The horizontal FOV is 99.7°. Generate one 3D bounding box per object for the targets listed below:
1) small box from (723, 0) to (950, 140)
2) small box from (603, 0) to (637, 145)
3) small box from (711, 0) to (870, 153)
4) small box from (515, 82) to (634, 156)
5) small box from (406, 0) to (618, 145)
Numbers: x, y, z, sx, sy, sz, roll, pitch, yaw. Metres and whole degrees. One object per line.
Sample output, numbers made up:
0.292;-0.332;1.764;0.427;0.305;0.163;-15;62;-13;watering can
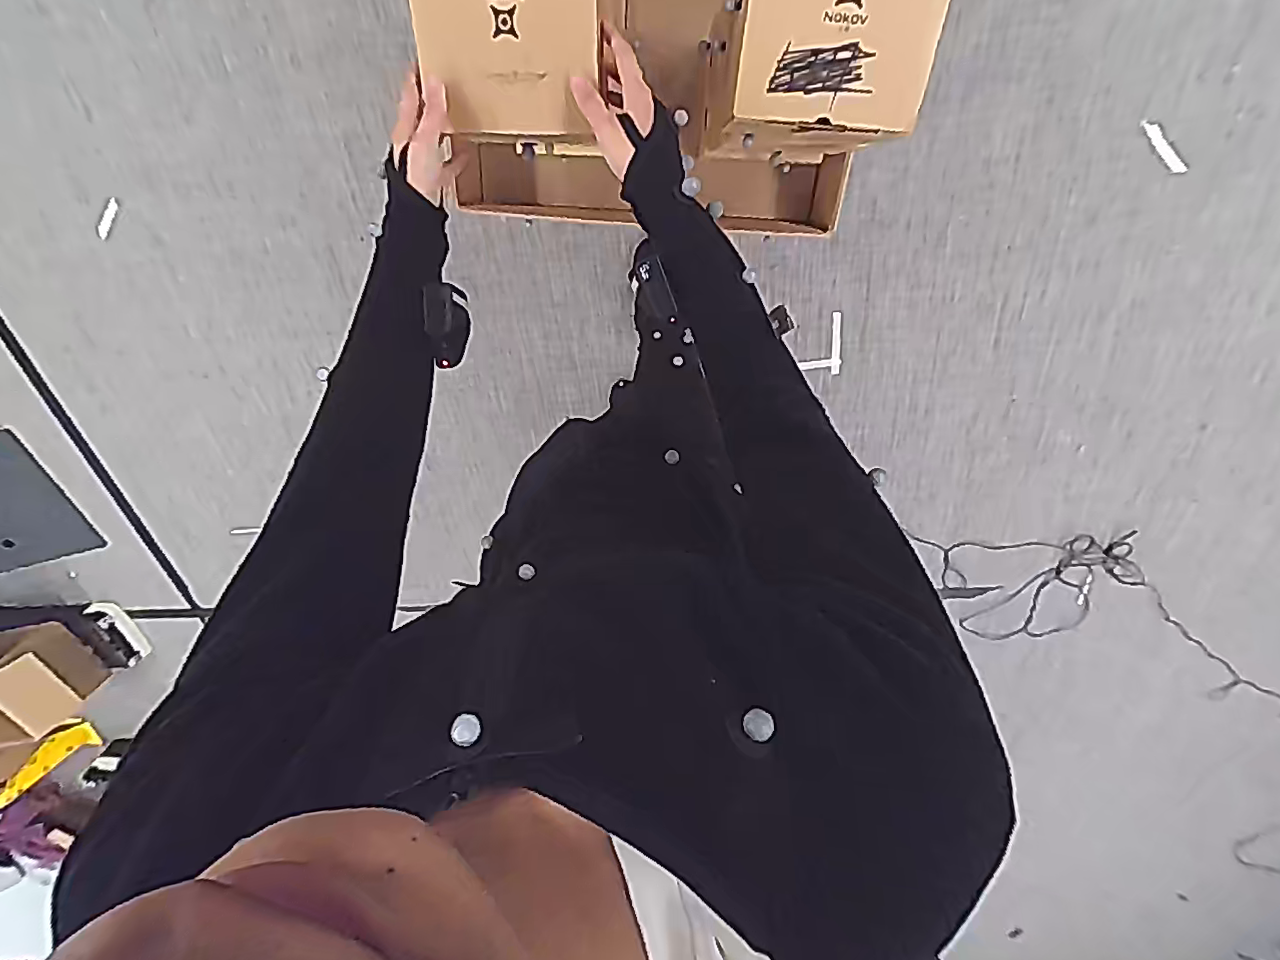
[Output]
0.174;-0.430;0.508;0.168;0.176;0.179;6;119;1;small box
-0.099;-0.519;0.669;0.179;0.176;0.168;4;120;0;small box
0.184;-0.499;0.659;0.179;0.176;0.168;2;120;3;small box
-0.095;-0.594;0.816;0.168;0.176;0.179;2;119;1;small box
-0.113;-0.438;0.528;0.168;0.176;0.179;3;119;3;small box
